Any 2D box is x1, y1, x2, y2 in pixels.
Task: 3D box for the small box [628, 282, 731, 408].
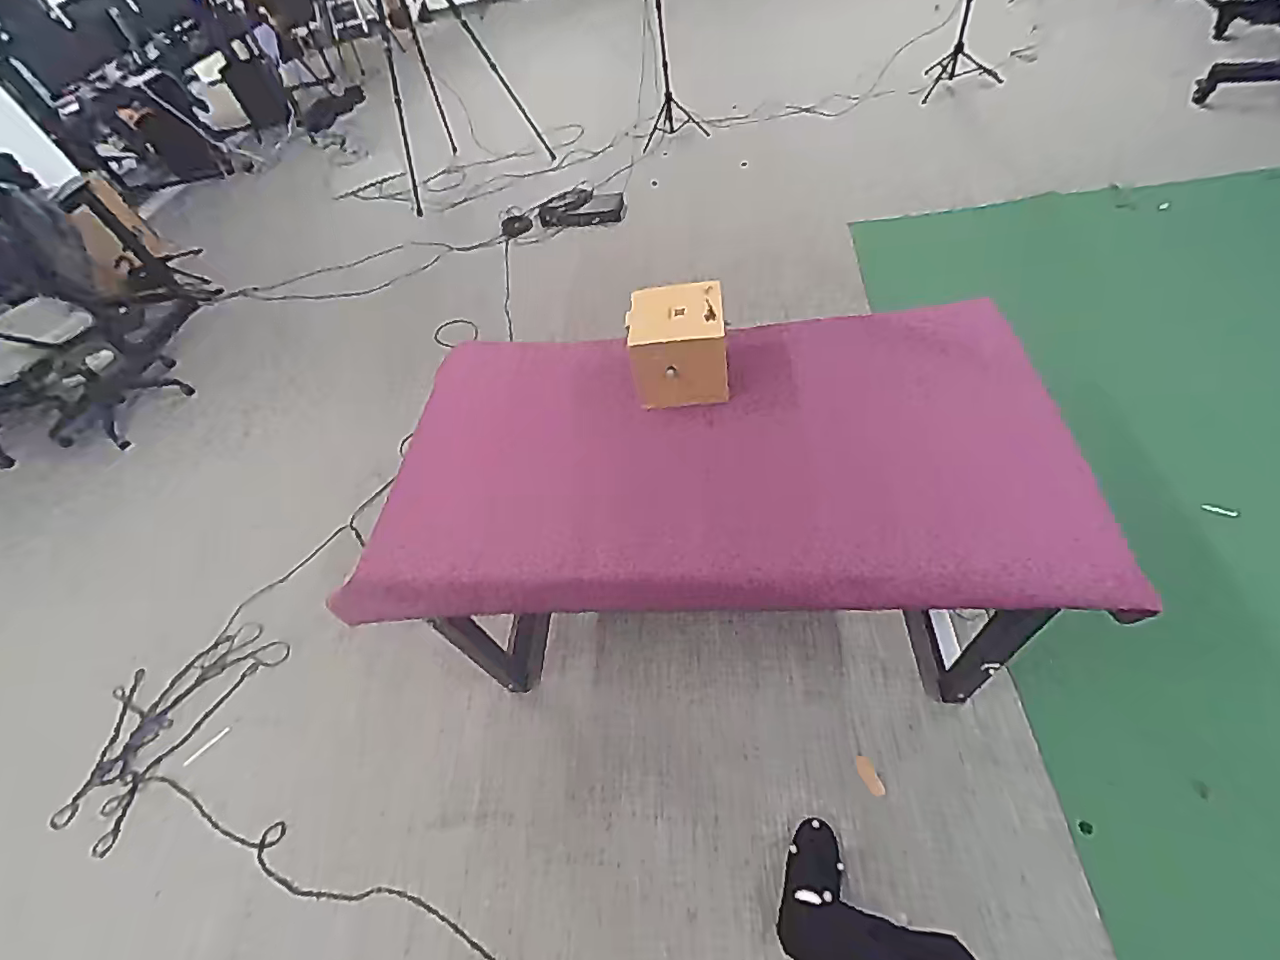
[{"bbox_3d":[0.082,-0.257,1.057,0.179,0.176,0.168,-4,54,10],"label":"small box"}]
